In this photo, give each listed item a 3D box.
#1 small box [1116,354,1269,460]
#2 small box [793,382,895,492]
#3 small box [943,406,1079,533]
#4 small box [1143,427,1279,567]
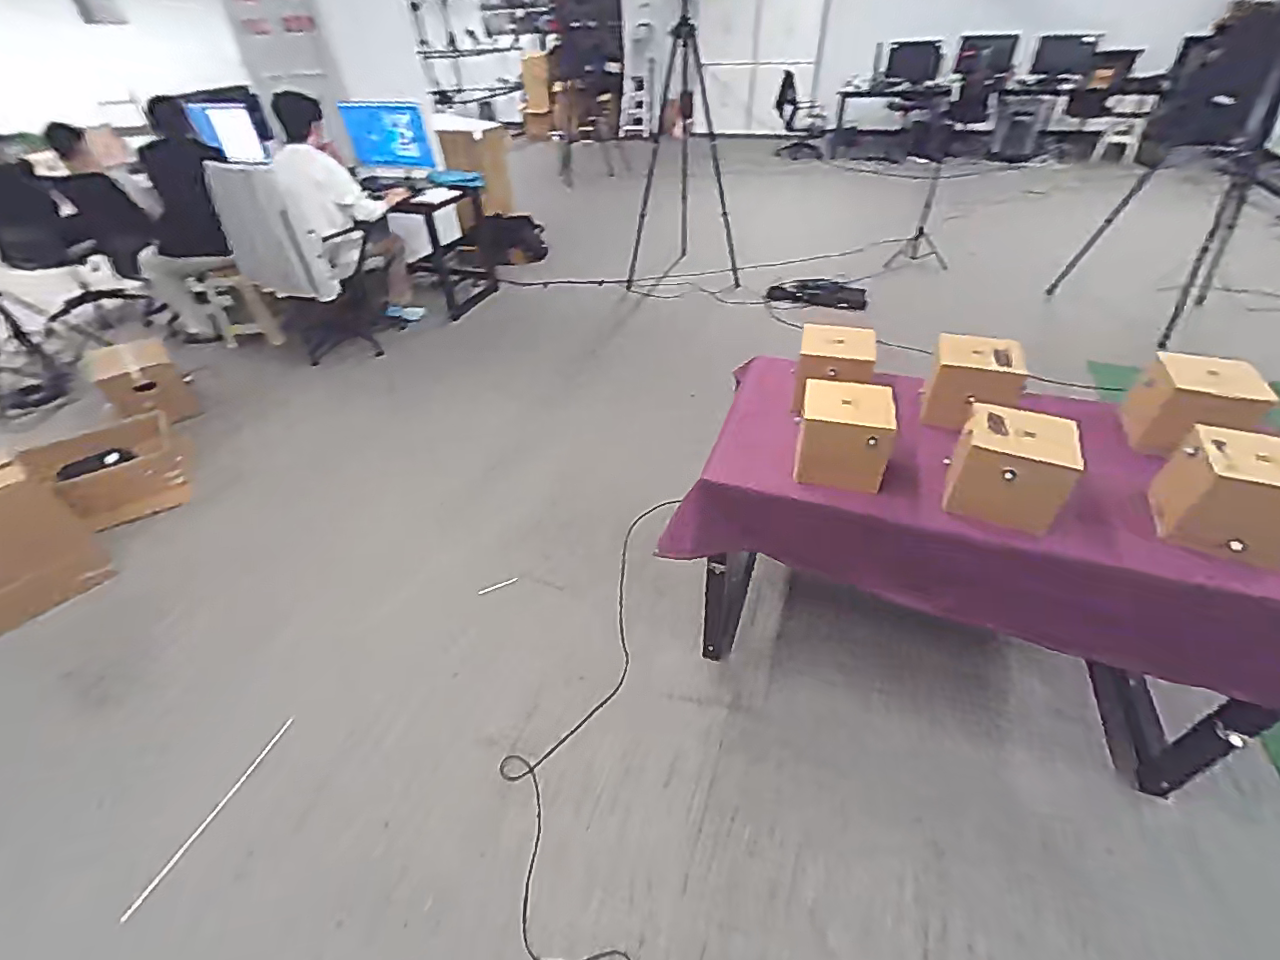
[{"bbox_3d":[1.205,-0.156,1.200,0.168,0.176,0.179,14,44,20],"label":"small box"},{"bbox_3d":[0.433,-0.093,1.173,0.179,0.176,0.168,9,41,12],"label":"small box"},{"bbox_3d":[0.721,-0.021,1.070,0.179,0.176,0.168,17,44,21],"label":"small box"},{"bbox_3d":[1.078,0.033,0.984,0.179,0.176,0.168,18,44,22],"label":"small box"}]
